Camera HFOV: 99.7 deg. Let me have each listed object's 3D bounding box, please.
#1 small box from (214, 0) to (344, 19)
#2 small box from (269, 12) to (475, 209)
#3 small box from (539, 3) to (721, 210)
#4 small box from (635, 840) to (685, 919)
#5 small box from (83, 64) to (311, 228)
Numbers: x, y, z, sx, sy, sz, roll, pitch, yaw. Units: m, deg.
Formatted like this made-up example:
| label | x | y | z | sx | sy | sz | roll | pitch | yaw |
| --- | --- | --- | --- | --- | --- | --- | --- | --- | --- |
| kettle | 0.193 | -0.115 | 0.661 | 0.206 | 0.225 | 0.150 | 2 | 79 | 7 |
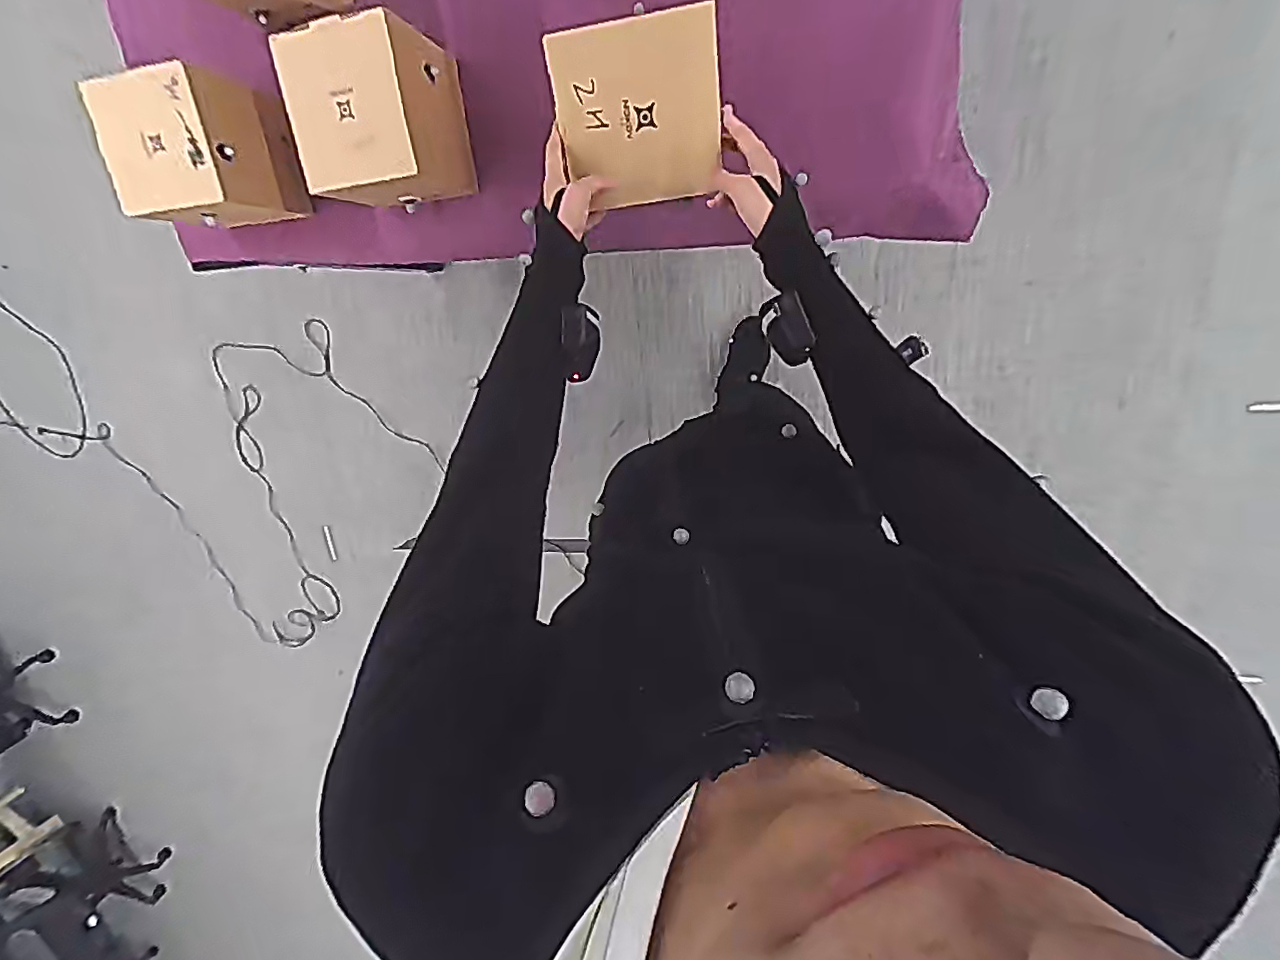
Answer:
| label | x | y | z | sx | sy | sz | roll | pitch | yaw |
| --- | --- | --- | --- | --- | --- | --- | --- | --- | --- |
| small box | -0.515 | -0.733 | 0.691 | 0.168 | 0.176 | 0.179 | -2 | 109 | 12 |
| small box | -0.352 | -0.488 | 0.745 | 0.168 | 0.176 | 0.179 | -2 | 111 | 13 |
| small box | 0.001 | -0.430 | 0.639 | 0.179 | 0.176 | 0.168 | -3 | 122 | 10 |
| small box | 0.081 | 1.558 | 2.115 | 0.168 | 0.176 | 0.179 | -1 | 106 | 12 |
| small box | -0.641 | -0.479 | 0.805 | 0.179 | 0.176 | 0.168 | -1 | 110 | 12 |
